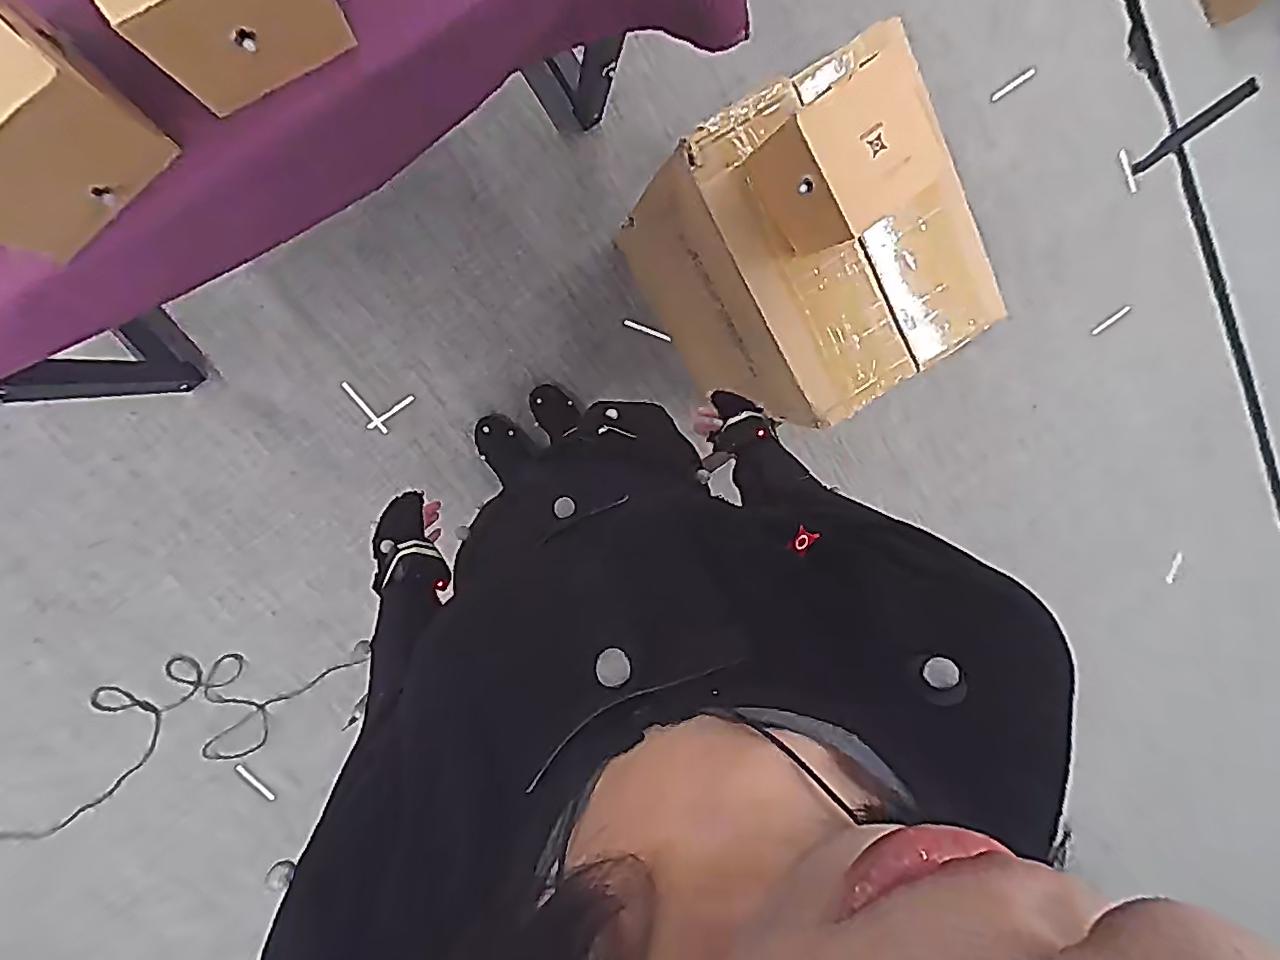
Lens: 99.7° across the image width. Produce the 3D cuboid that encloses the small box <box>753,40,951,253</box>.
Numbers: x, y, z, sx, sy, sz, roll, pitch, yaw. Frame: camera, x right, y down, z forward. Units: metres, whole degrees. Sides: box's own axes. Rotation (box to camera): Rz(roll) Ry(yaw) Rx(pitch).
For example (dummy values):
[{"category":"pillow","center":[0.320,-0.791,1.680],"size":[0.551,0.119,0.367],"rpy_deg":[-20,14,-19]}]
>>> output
[{"category":"small box","center":[0.291,-0.456,0.775],"size":[0.168,0.176,0.179],"rpy_deg":[-37,107,-1]}]

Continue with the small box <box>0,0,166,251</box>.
[{"category":"small box","center":[-0.601,-0.348,0.498],"size":[0.179,0.176,0.168],"rpy_deg":[-46,105,-2]}]

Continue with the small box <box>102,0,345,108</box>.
[{"category":"small box","center":[-0.412,-0.503,0.509],"size":[0.179,0.176,0.168],"rpy_deg":[-31,104,-4]}]
